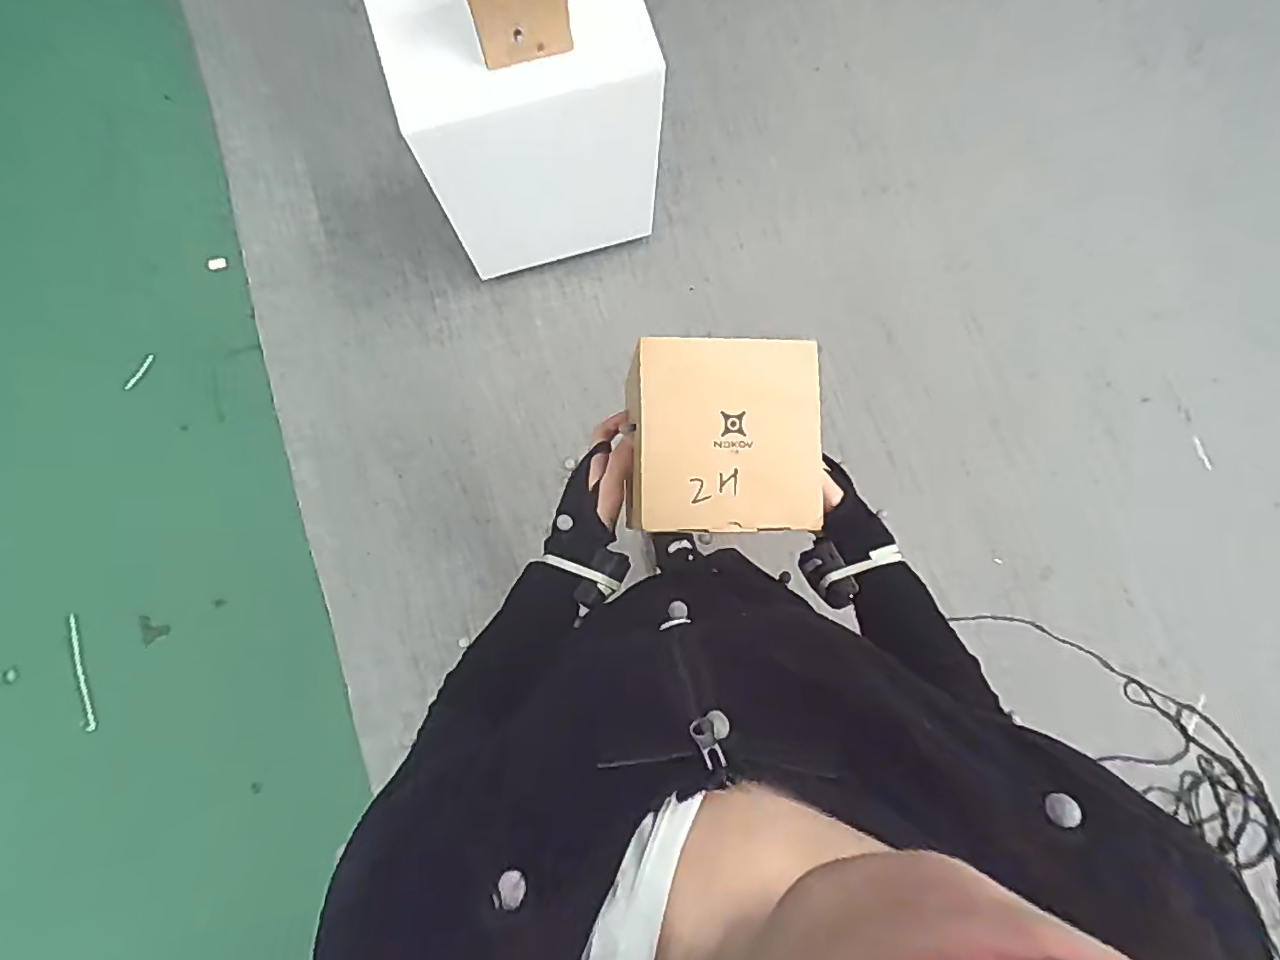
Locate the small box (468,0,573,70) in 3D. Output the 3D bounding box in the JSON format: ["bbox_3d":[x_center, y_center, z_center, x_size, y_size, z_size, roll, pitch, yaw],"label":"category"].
[{"bbox_3d":[-0.220,-0.866,0.932,0.168,0.176,0.179,-17,84,-3],"label":"small box"}]

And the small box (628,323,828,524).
[{"bbox_3d":[0.075,-0.045,0.551,0.168,0.176,0.179,-1,86,-5],"label":"small box"}]
